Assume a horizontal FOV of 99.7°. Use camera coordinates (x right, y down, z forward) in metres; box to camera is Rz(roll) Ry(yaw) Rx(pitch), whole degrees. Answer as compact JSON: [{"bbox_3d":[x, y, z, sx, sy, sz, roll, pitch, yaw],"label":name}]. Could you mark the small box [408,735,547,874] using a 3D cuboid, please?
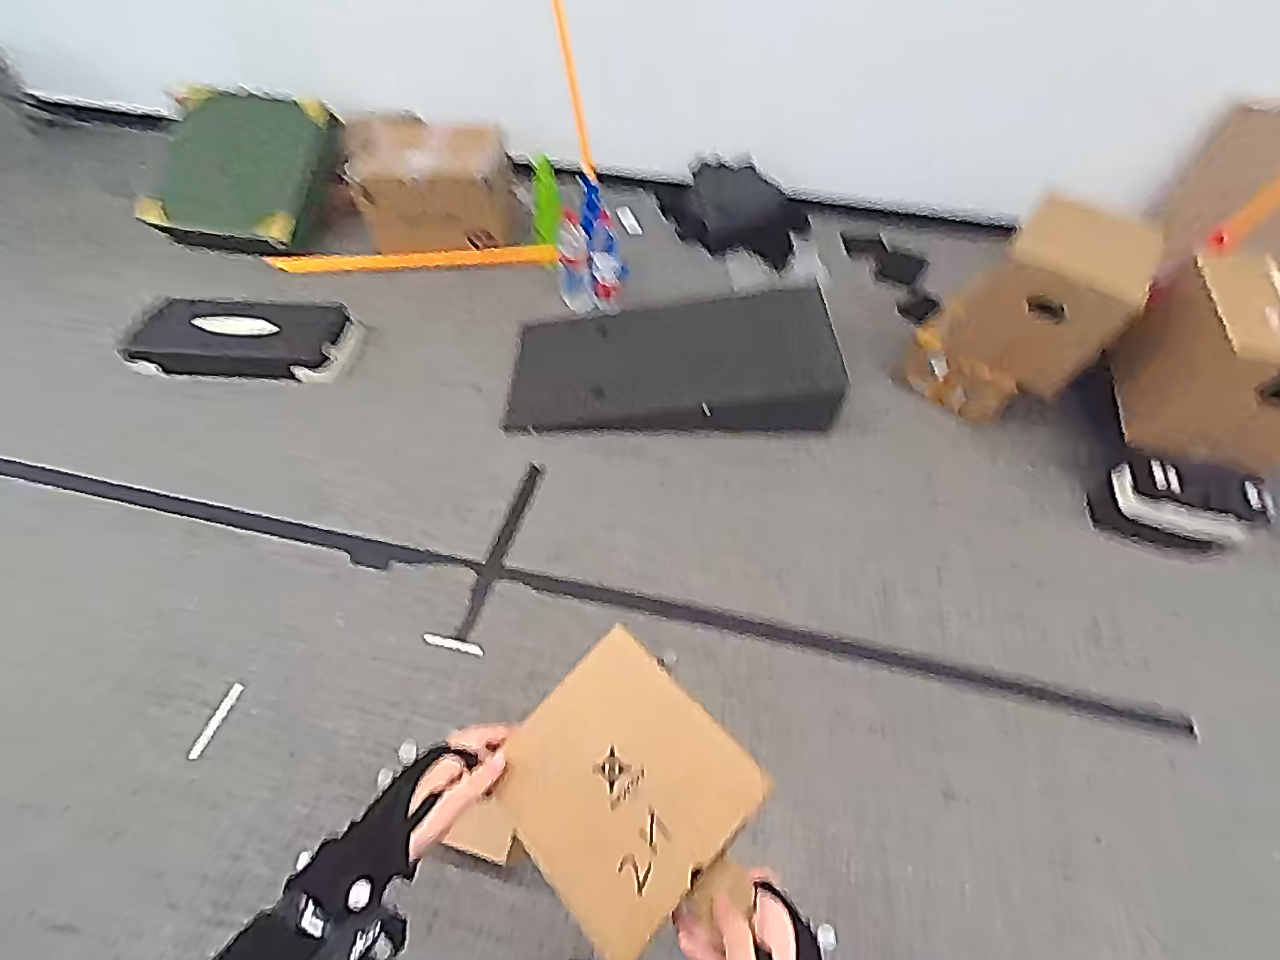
[{"bbox_3d":[-0.281,0.592,0.987,0.179,0.176,0.168,15,55,8],"label":"small box"}]
